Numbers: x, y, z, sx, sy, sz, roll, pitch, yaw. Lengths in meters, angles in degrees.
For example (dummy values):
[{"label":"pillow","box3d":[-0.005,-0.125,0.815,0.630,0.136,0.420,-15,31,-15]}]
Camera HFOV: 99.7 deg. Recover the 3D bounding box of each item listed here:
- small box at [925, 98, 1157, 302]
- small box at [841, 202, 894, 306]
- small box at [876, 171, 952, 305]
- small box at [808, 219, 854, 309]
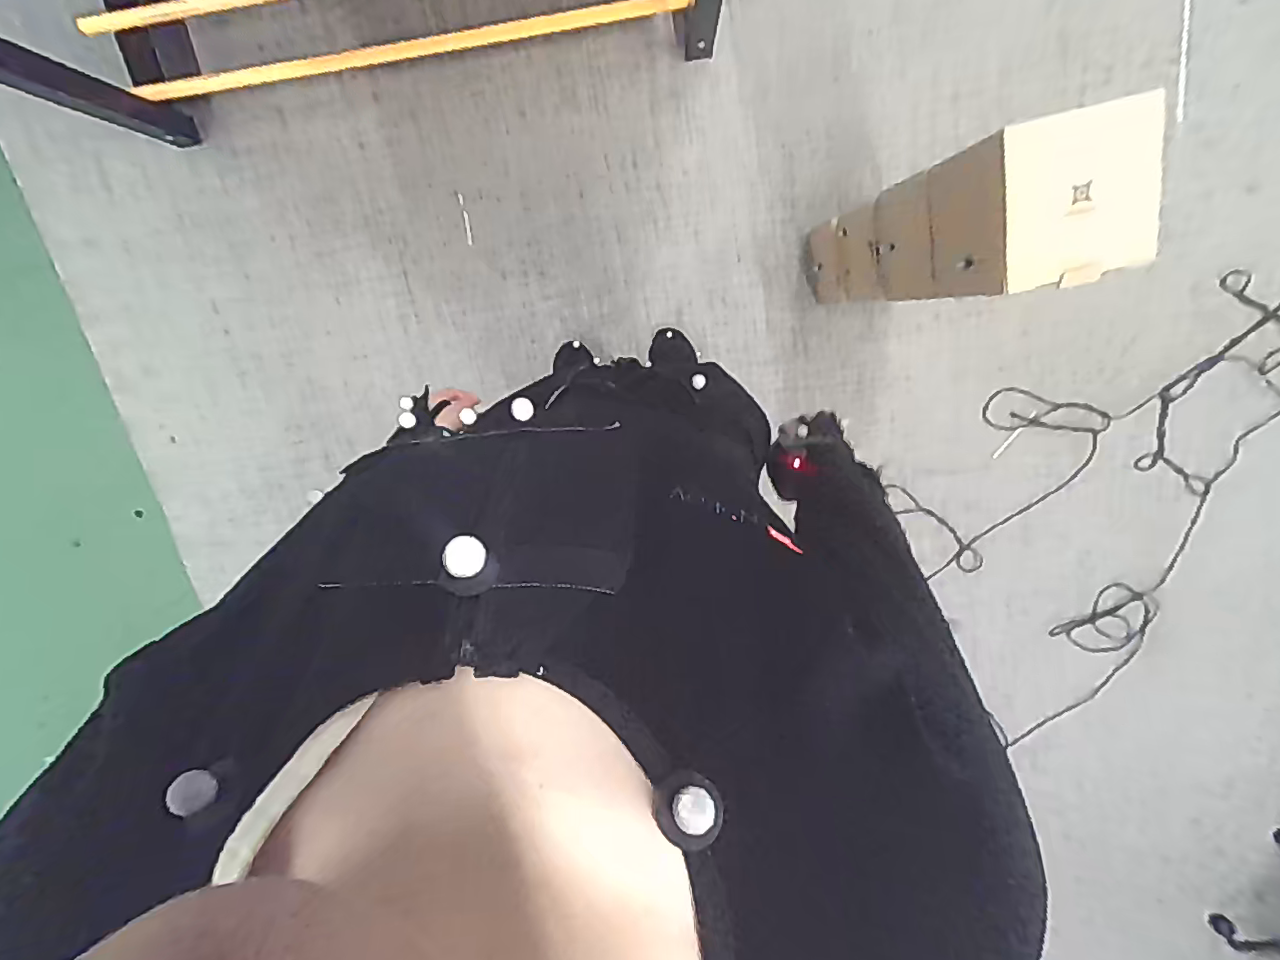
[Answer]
[{"label":"small box","box3d":[0.479,-0.326,0.670,0.168,0.176,0.179,-12,105,4]},{"label":"small box","box3d":[0.480,-0.419,0.983,0.179,0.176,0.168,-13,106,4]},{"label":"small box","box3d":[0.480,-0.374,0.826,0.168,0.176,0.179,-12,106,5]},{"label":"small box","box3d":[0.473,-0.465,1.142,0.179,0.176,0.168,-13,105,6]}]
